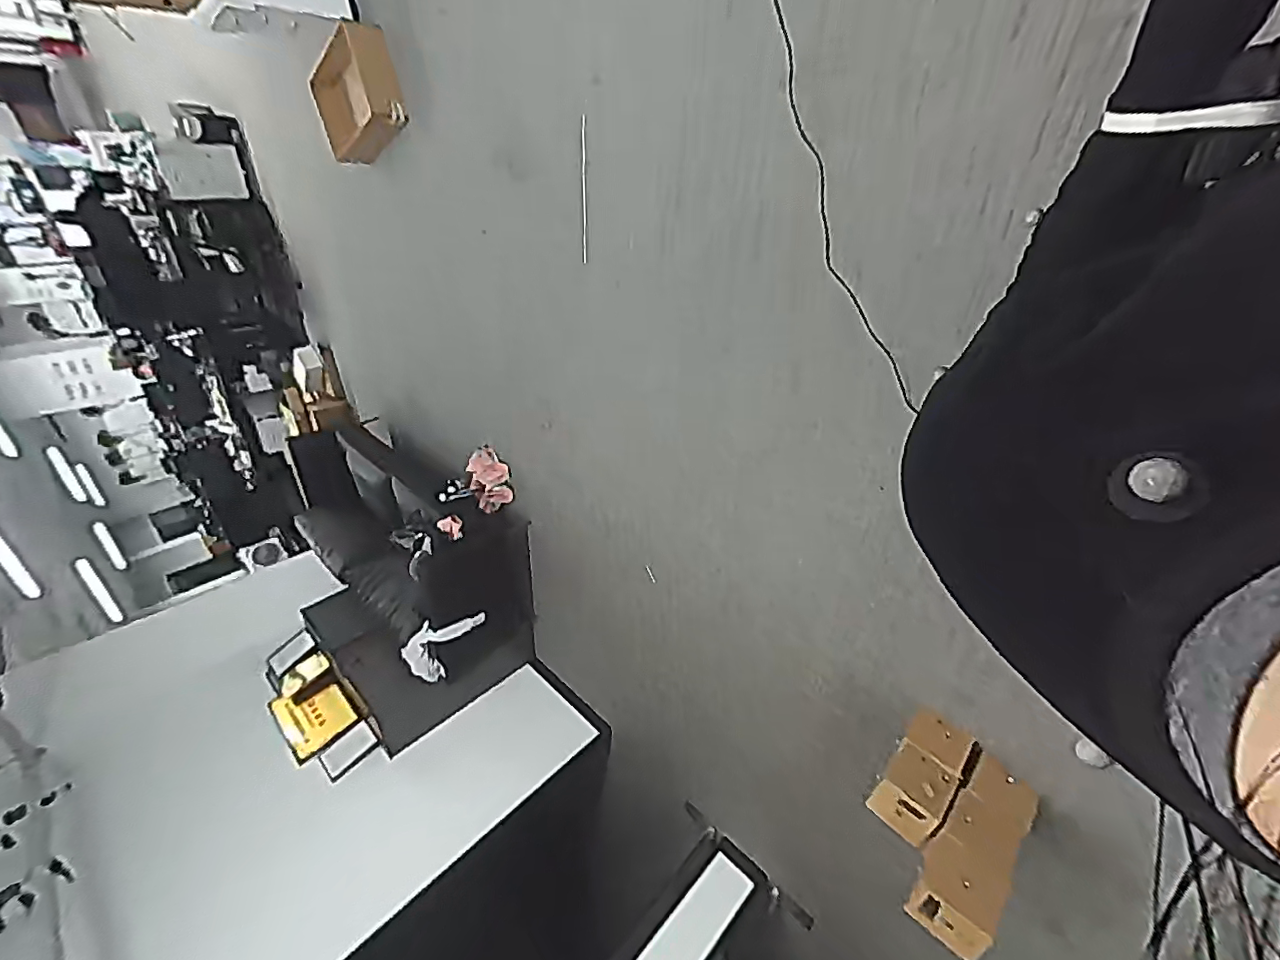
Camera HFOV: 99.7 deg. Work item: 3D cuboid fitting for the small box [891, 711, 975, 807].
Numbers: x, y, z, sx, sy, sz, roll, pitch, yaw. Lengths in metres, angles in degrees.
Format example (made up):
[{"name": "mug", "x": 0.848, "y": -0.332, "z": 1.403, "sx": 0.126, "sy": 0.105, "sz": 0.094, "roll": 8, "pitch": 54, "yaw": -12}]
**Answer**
[{"name": "small box", "x": 0.943, "y": 0.889, "z": 1.734, "sx": 0.168, "sy": 0.176, "sz": 0.179, "roll": 29, "pitch": 129, "yaw": 35}]
